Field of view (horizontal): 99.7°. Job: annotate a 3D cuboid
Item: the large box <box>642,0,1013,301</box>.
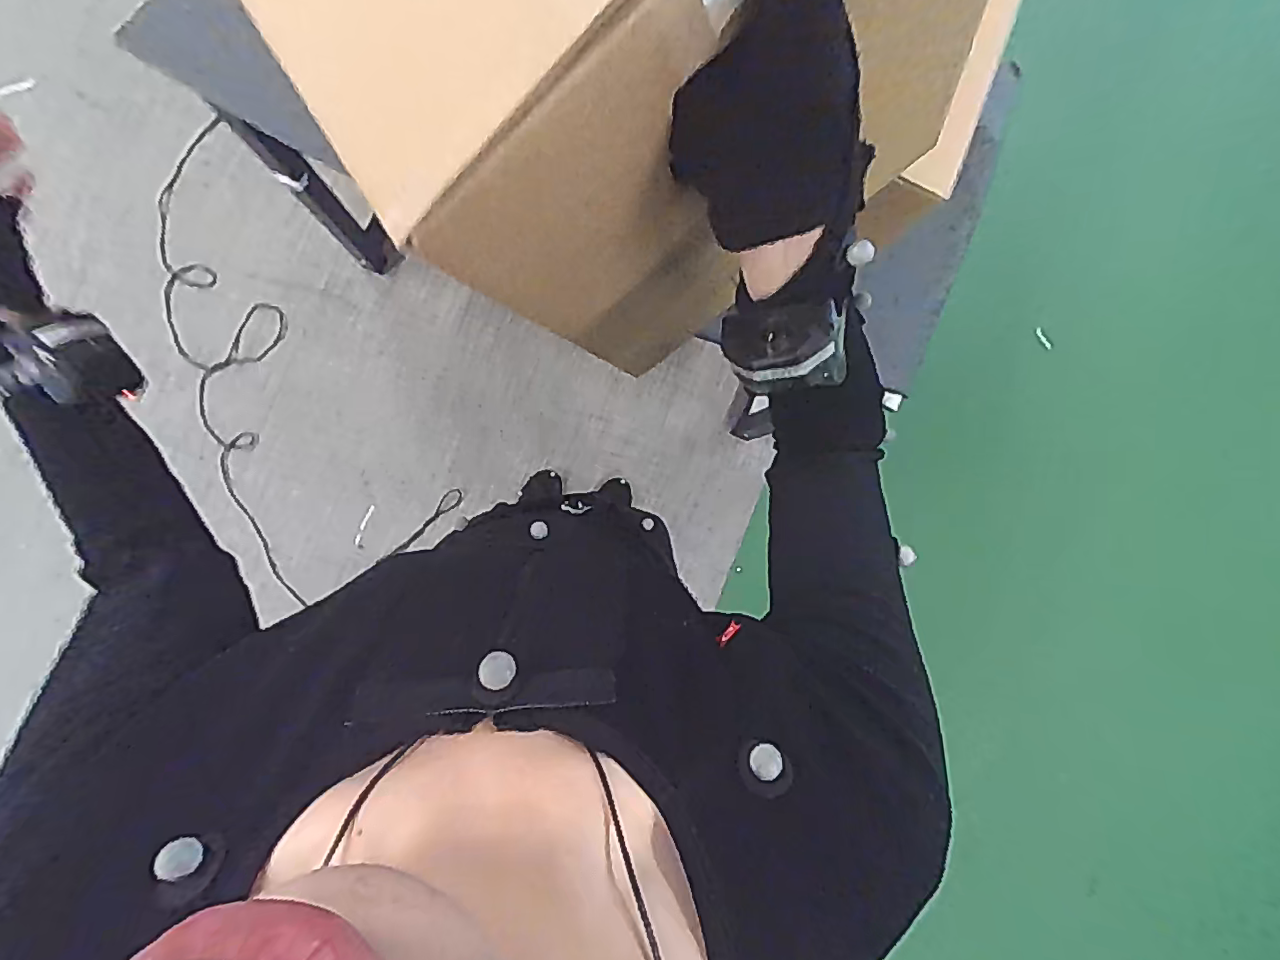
[{"bbox_3d":[0.223,-0.518,0.702,0.320,0.320,0.408,22,85,-6],"label":"large box"}]
